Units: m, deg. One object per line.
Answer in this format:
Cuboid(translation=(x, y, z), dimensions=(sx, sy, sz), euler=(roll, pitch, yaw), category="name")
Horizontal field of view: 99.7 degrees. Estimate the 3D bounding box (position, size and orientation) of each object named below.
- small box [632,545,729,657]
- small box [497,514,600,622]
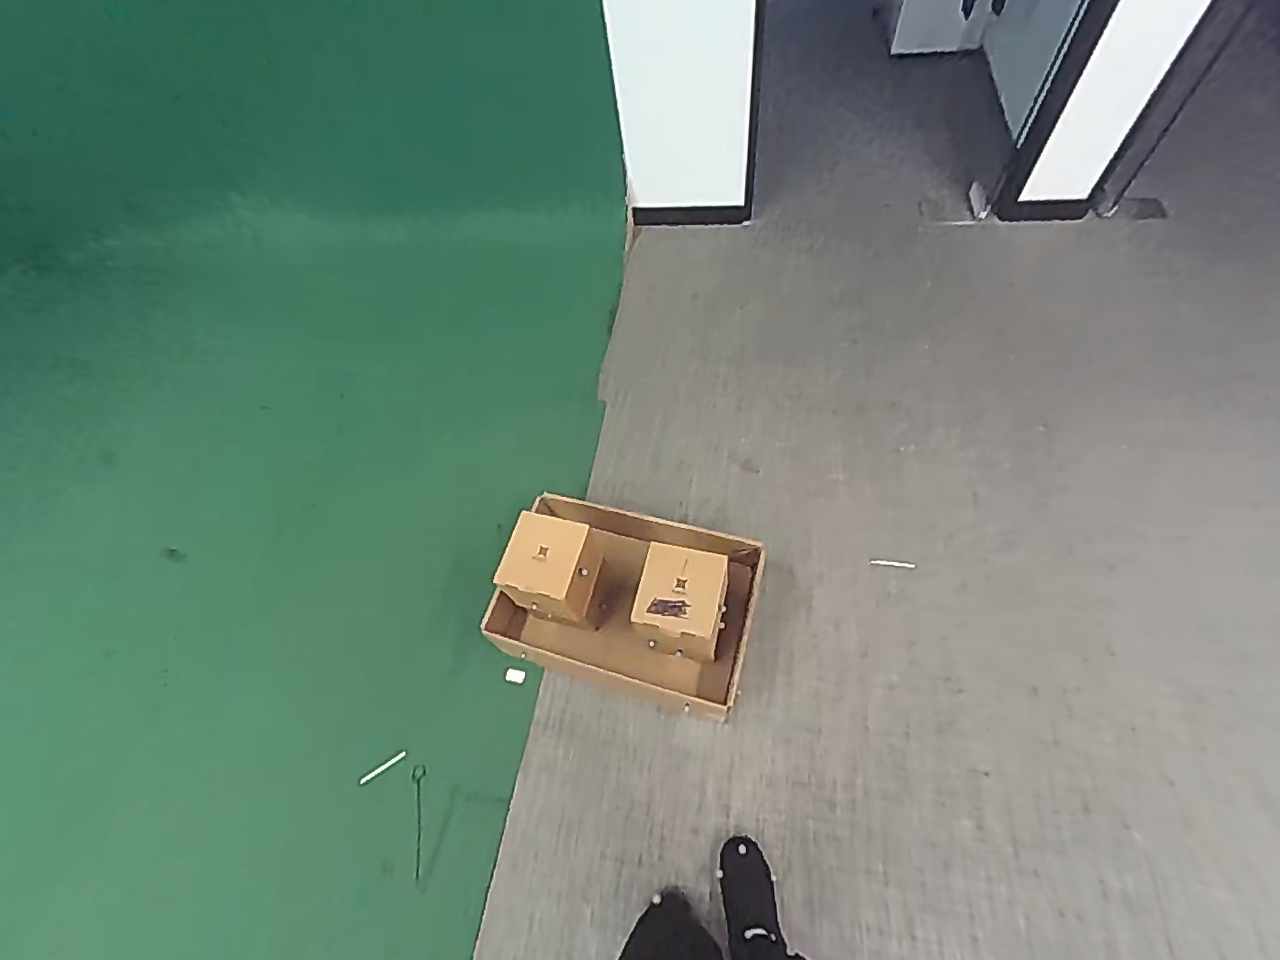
Cuboid(translation=(0.094, 0.264, 1.157), dimensions=(0.168, 0.176, 0.179), euler=(10, 62, 14), category="small box")
Cuboid(translation=(-0.197, 0.203, 1.235), dimensions=(0.168, 0.176, 0.179), euler=(12, 64, 13), category="small box")
